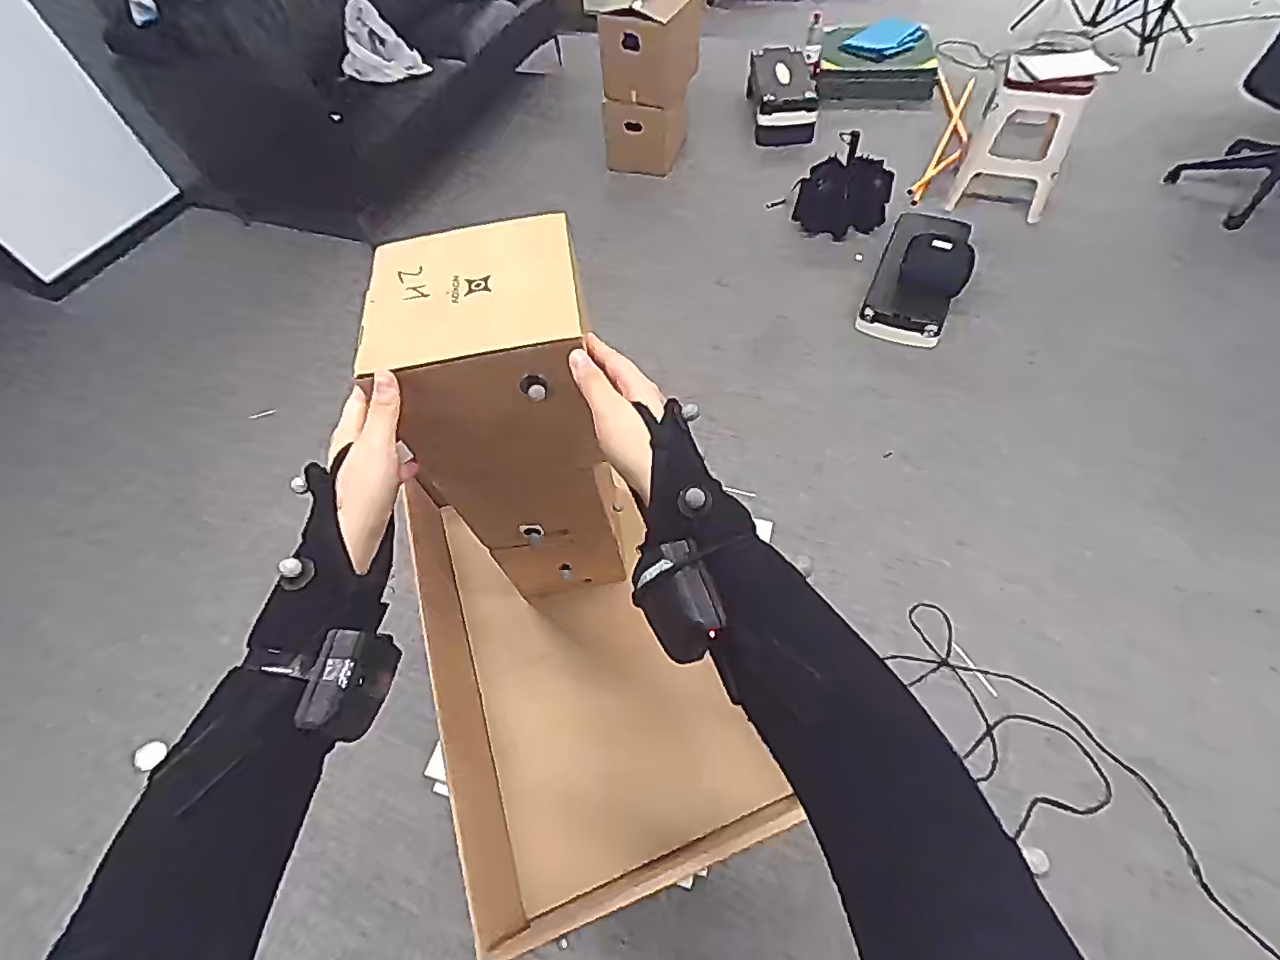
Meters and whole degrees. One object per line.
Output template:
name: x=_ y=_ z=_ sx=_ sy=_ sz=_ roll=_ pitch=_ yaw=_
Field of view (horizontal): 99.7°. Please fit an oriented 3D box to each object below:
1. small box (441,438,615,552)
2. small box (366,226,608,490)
small box: x=-0.126 y=-0.031 z=0.672 sx=0.168 sy=0.176 sz=0.179 roll=-8 pitch=58 yaw=2
small box: x=-0.130 y=-0.110 z=0.526 sx=0.179 sy=0.176 sz=0.168 roll=-11 pitch=56 yaw=0
